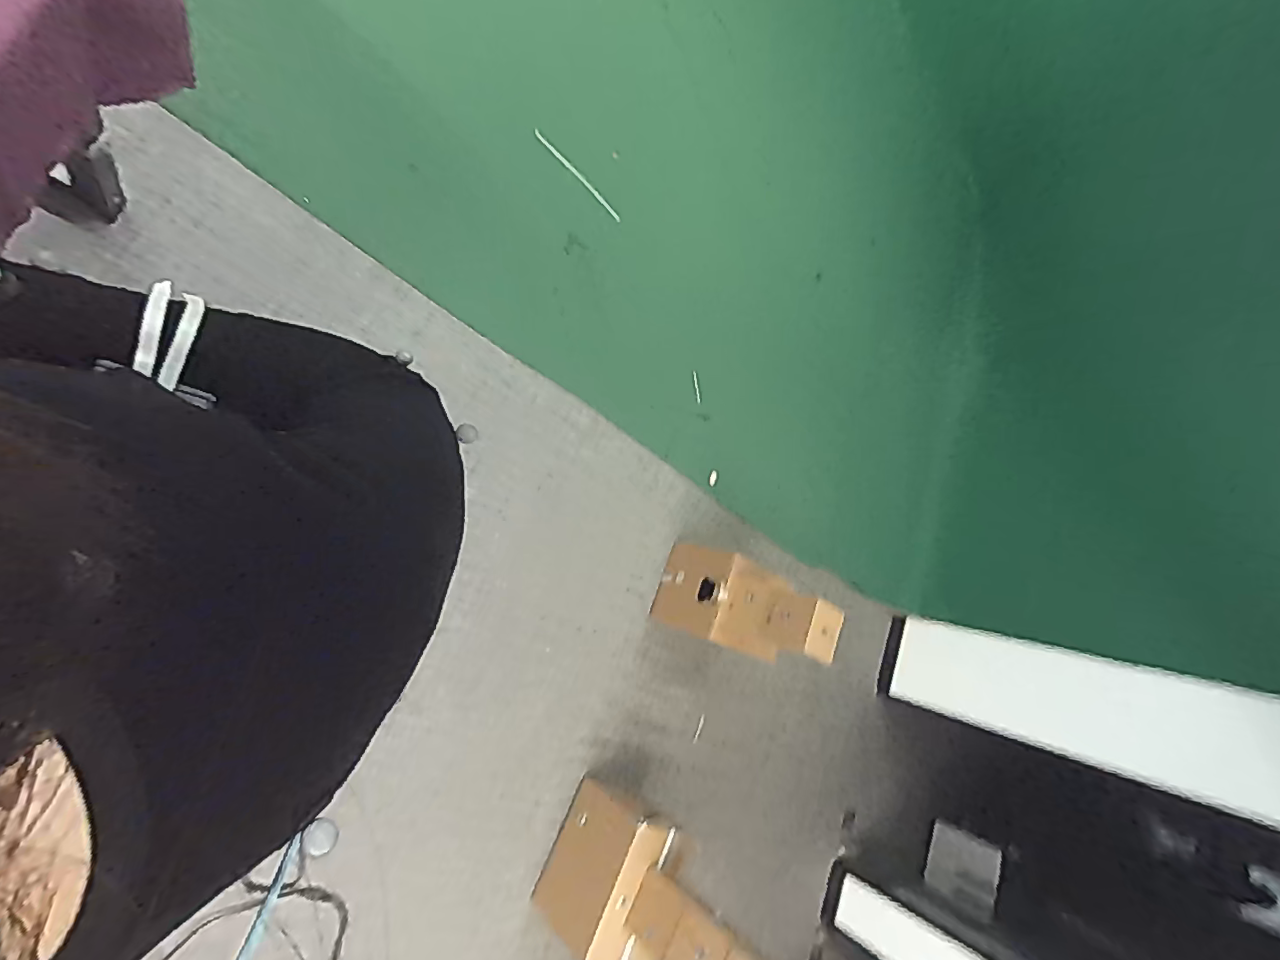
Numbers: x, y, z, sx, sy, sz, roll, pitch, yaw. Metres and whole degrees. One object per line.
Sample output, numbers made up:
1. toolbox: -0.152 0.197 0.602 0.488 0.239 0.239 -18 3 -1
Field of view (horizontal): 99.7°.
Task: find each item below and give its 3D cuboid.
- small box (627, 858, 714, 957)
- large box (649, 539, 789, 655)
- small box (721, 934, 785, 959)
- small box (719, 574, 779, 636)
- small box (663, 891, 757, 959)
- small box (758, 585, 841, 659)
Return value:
1. small box: 0.085 1.289 1.628 0.168 0.176 0.179 43 66 -35
2. large box: 0.305 0.444 2.081 0.408 0.320 0.320 31 73 -38
3. small box: 0.300 1.308 1.381 0.179 0.176 0.168 43 66 -35
4. small box: 0.398 0.429 1.840 0.179 0.176 0.168 34 71 -37
5. small box: 0.189 1.298 1.502 0.168 0.176 0.179 45 64 -35
6. small box: 0.500 0.443 1.711 0.179 0.176 0.168 34 72 -37
